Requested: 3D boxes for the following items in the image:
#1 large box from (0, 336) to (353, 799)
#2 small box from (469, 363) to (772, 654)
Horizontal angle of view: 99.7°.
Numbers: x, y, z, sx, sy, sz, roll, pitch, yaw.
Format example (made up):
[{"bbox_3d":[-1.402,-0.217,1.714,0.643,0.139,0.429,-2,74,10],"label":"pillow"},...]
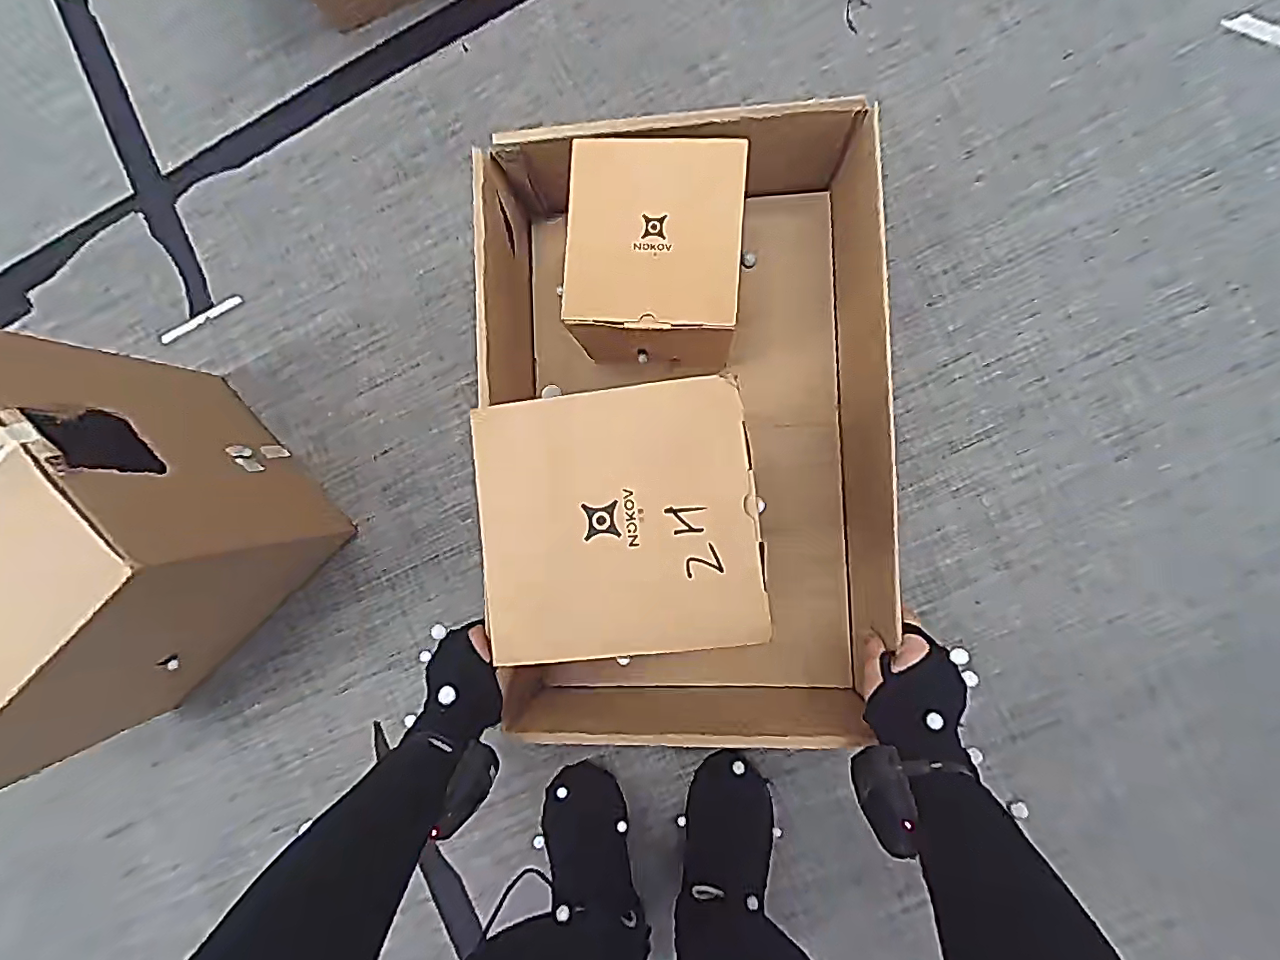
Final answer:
[{"bbox_3d":[-0.650,0.098,0.632,0.408,0.320,0.320,-44,86,5],"label":"large box"},{"bbox_3d":[-0.006,0.024,0.407,0.179,0.176,0.168,-7,86,6],"label":"small box"}]
